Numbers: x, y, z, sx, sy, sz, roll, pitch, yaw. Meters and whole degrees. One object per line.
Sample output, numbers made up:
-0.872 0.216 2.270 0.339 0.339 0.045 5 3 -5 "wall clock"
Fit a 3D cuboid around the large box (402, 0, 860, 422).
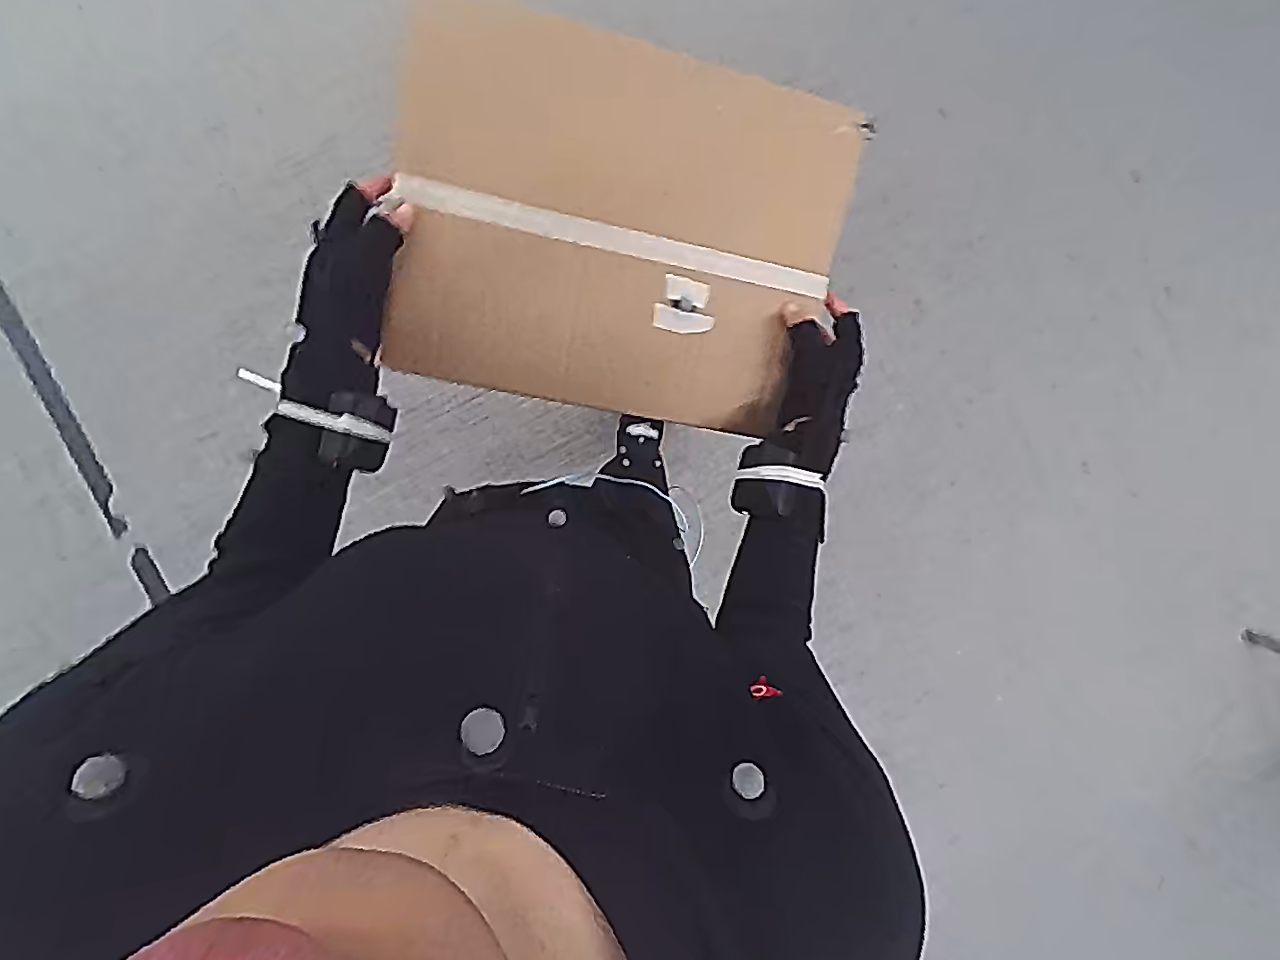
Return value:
-0.031 -0.276 0.658 0.408 0.320 0.320 9 105 -11 "large box"
